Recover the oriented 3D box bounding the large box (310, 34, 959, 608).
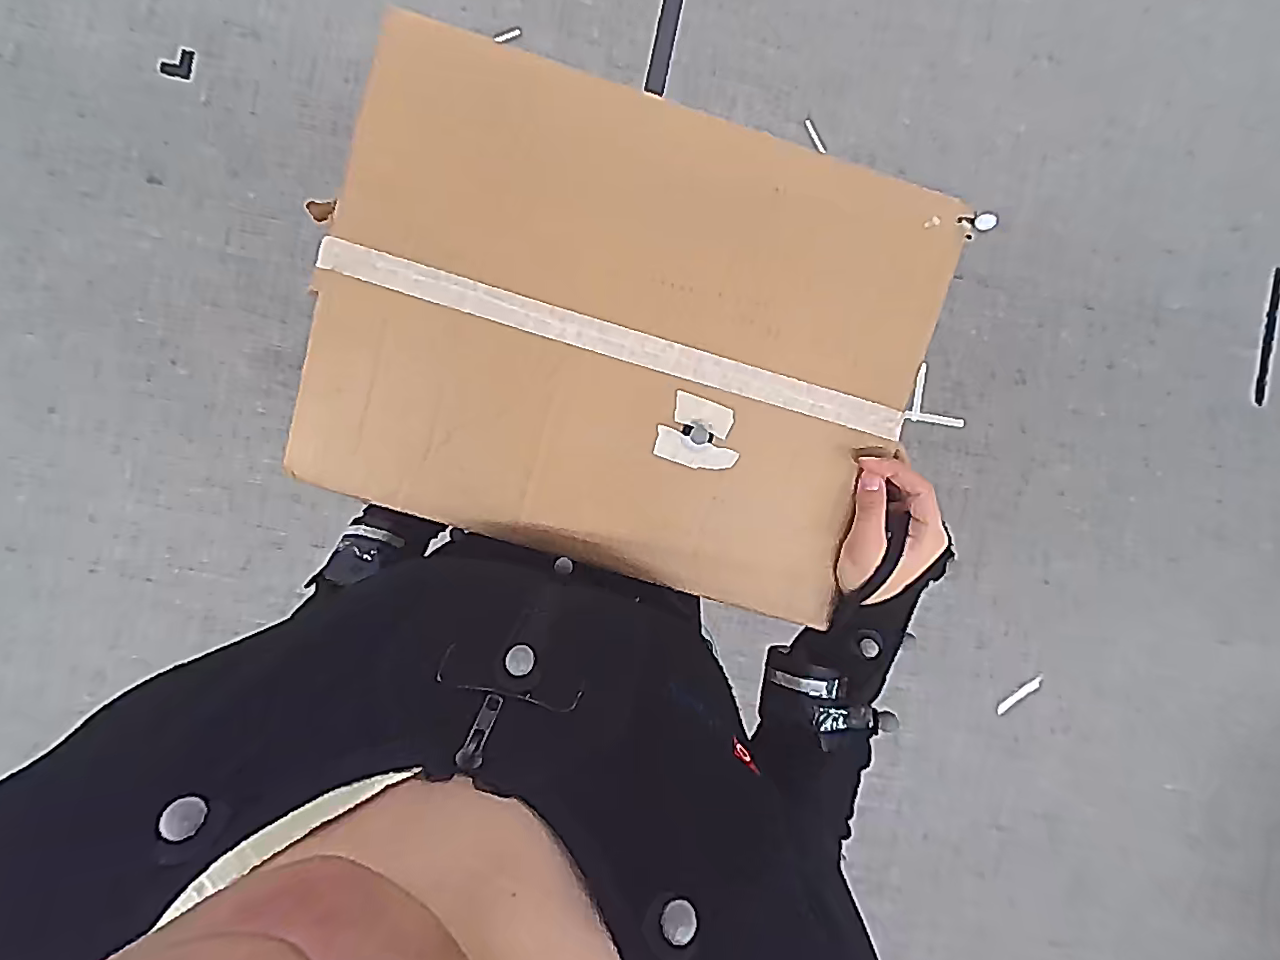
[{"bbox_3d":[-0.013,-0.114,0.527,0.408,0.320,0.320,16,97,-4],"label":"large box"}]
